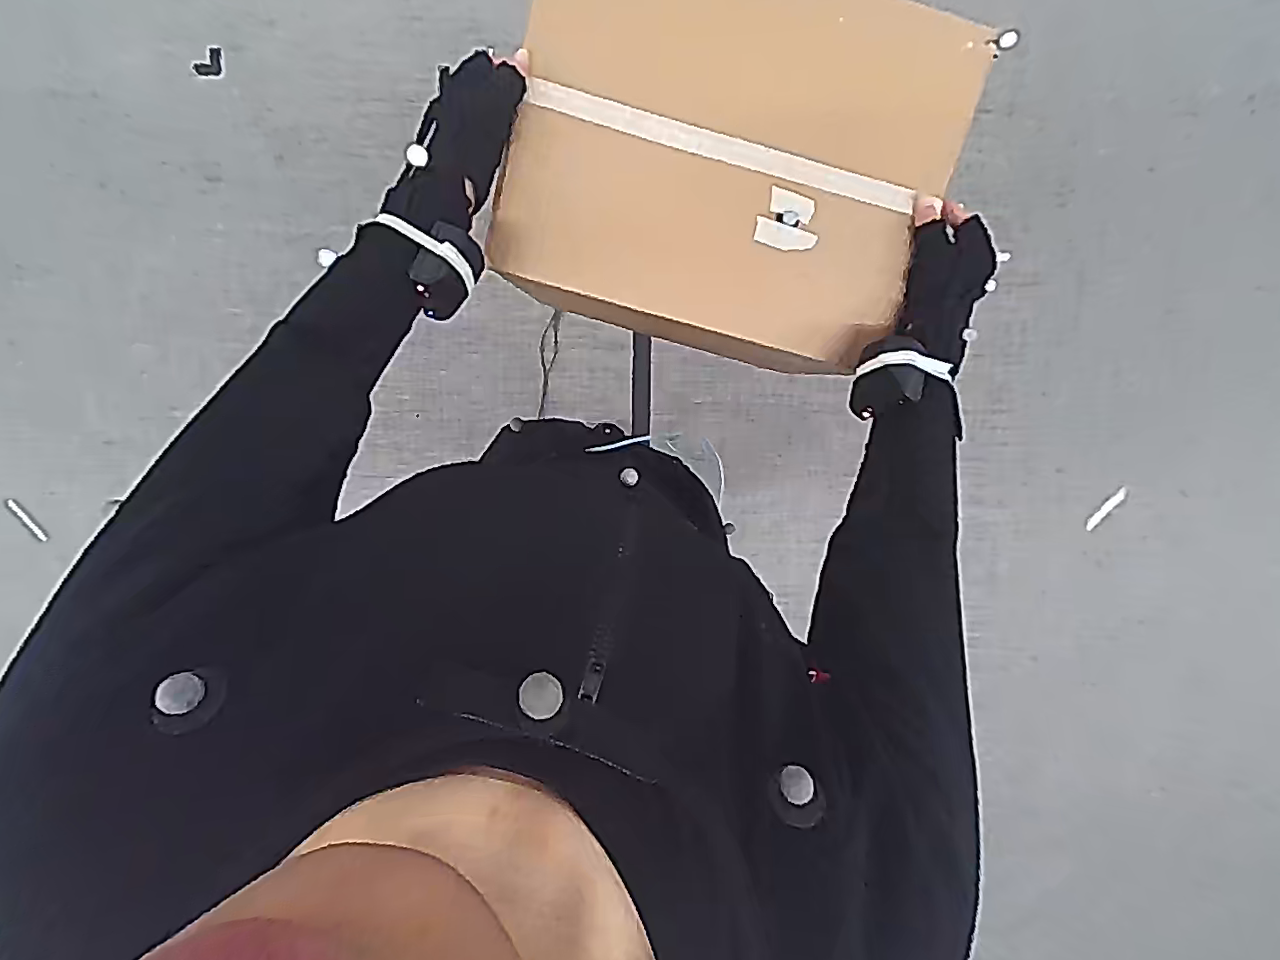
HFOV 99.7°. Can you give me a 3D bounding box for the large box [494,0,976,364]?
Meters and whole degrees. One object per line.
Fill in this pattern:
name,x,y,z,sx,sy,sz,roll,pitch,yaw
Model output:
large box,0.078,-0.338,0.653,0.408,0.320,0.320,14,102,-4
